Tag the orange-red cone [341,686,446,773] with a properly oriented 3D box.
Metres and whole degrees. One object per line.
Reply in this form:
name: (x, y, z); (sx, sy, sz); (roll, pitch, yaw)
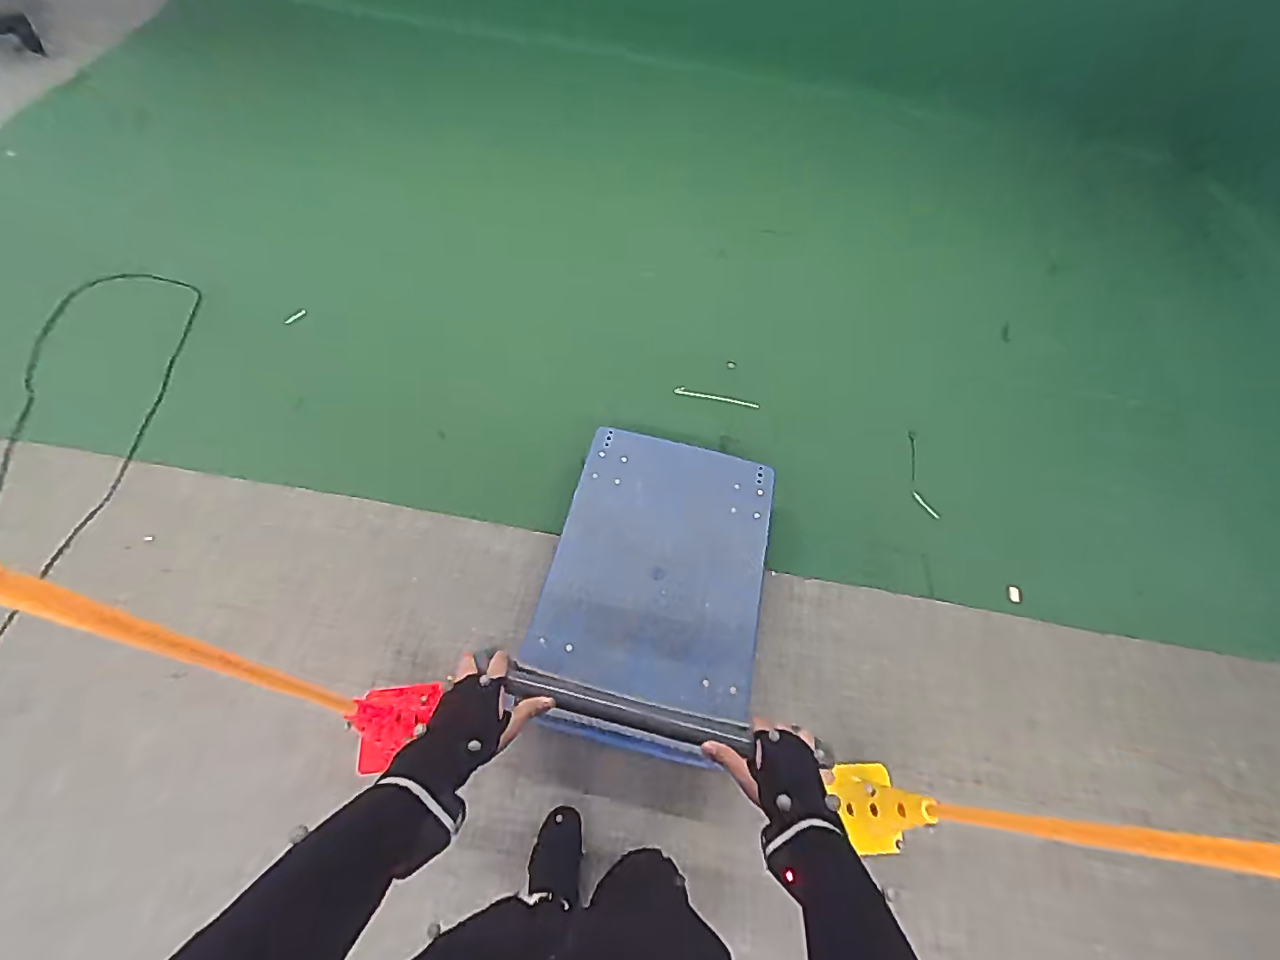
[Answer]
orange-red cone: (-0.596, 0.548, 1.237); (0.199, 0.360, 0.198); (-3, 60, -6)
